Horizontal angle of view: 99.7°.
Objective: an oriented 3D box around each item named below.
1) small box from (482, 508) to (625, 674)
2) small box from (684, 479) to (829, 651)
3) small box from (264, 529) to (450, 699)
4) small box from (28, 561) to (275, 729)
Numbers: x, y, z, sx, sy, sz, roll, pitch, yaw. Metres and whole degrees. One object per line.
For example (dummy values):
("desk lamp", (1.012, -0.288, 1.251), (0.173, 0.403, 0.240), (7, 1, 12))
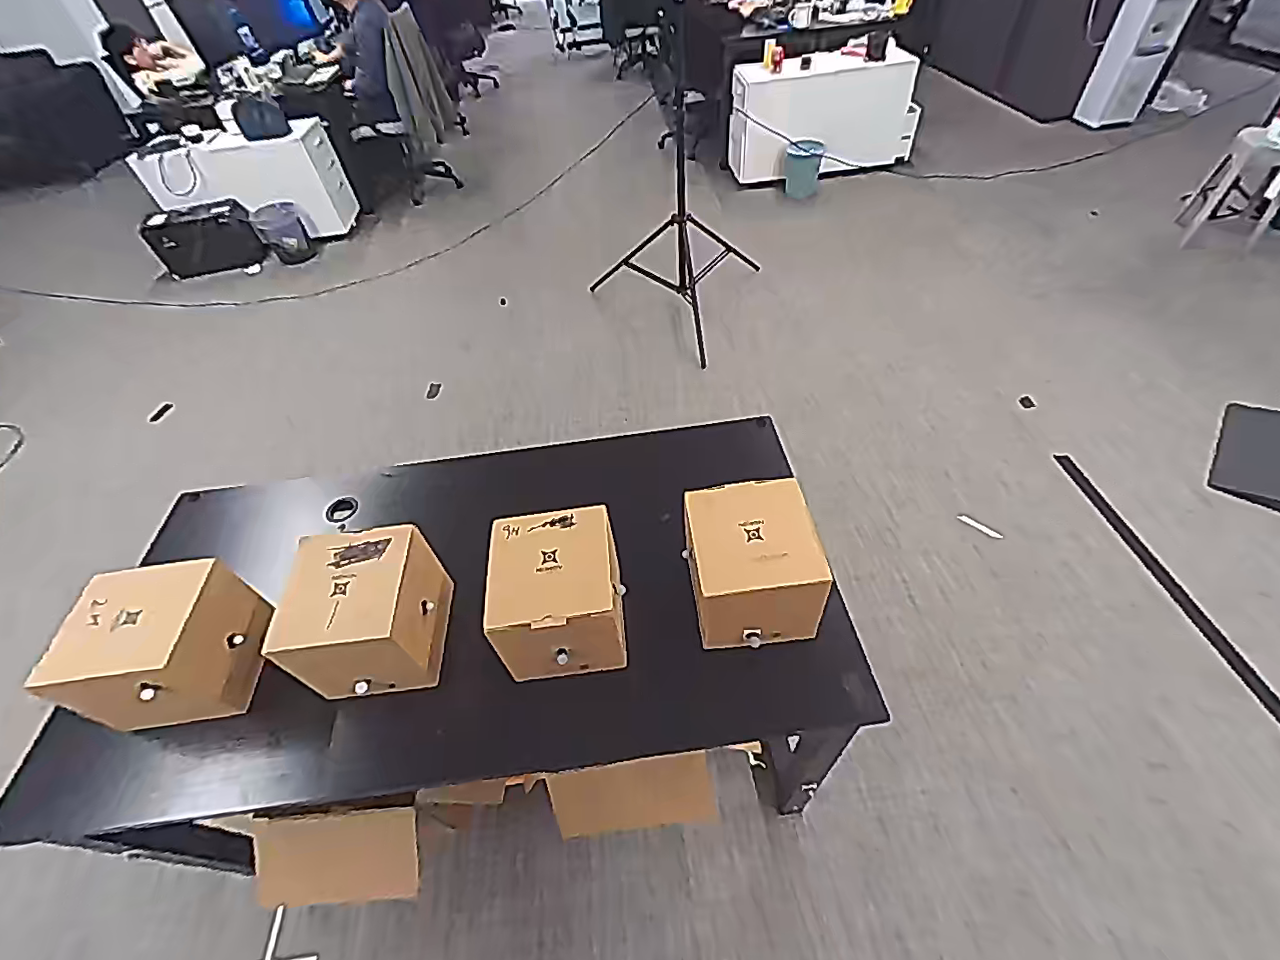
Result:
("small box", (-0.117, 0.167, 0.786), (0.168, 0.176, 0.179), (-8, 49, 0))
("small box", (0.158, 0.126, 0.793), (0.168, 0.176, 0.179), (-9, 49, 1))
("small box", (-0.391, 0.196, 0.790), (0.168, 0.176, 0.179), (-7, 49, 0))
("small box", (-0.673, 0.240, 0.779), (0.179, 0.176, 0.168), (-8, 48, -1))
